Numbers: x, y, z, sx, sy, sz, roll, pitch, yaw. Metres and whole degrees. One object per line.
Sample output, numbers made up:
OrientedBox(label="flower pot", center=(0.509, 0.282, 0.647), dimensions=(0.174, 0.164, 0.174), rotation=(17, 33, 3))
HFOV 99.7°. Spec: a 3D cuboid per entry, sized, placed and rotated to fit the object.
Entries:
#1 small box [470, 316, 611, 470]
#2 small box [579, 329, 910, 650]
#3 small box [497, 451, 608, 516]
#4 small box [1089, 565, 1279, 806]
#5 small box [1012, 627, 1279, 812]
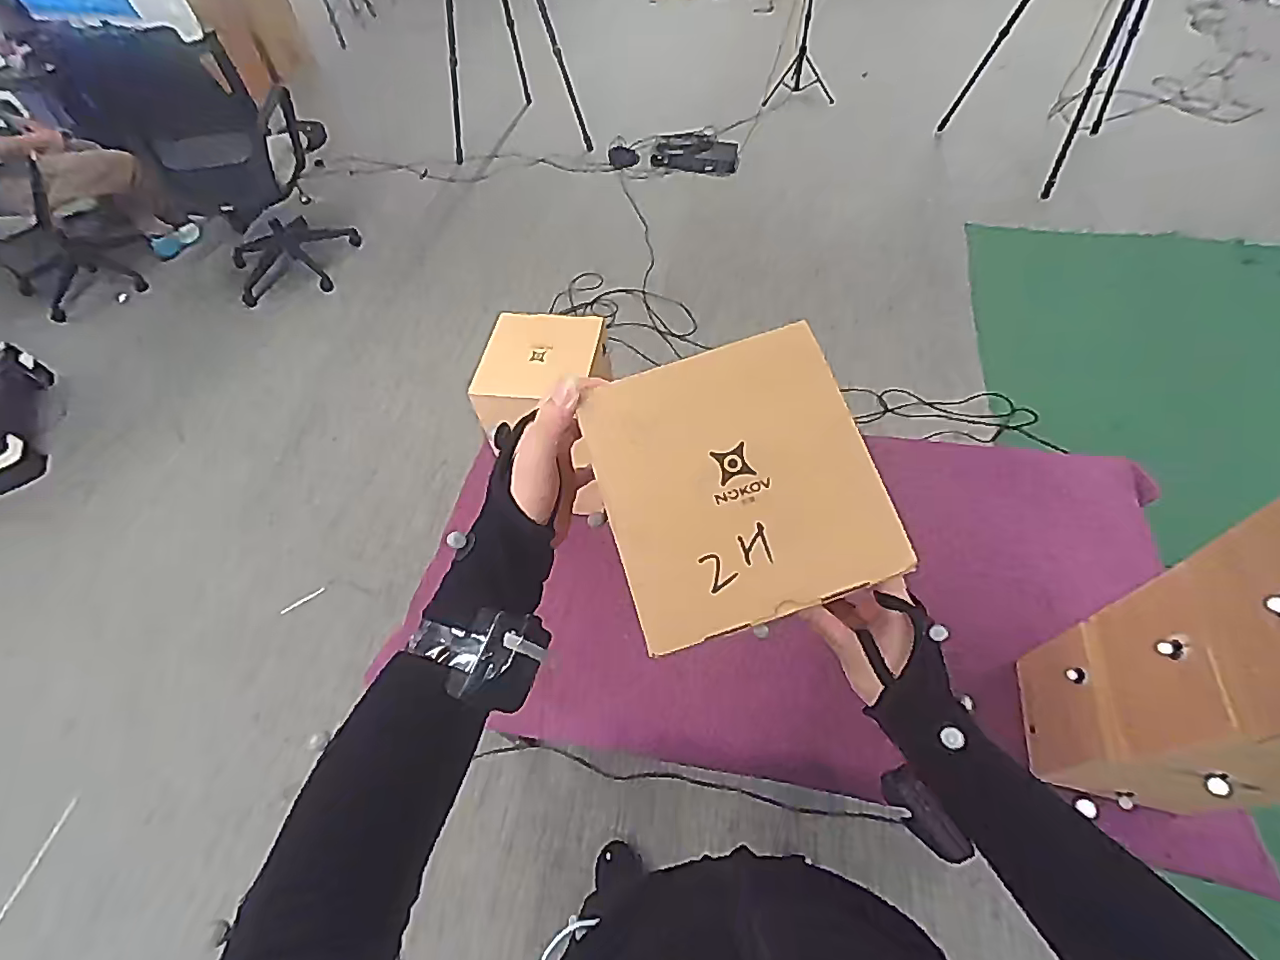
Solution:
OrientedBox(label="small box", center=(-0.141, -0.134, 0.853), dimensions=(0.168, 0.176, 0.179), rotation=(5, 56, 7))
OrientedBox(label="small box", center=(0.062, 0.019, 0.415), dimensions=(0.168, 0.176, 0.179), rotation=(-17, 75, -2))
OrientedBox(label="small box", center=(-0.136, -0.047, 0.990), dimensions=(0.179, 0.176, 0.168), rotation=(4, 56, 7))
OrientedBox(label="small box", center=(0.616, 0.216, 0.564), dimensions=(0.168, 0.176, 0.179), rotation=(9, 56, 12))
OrientedBox(label="small box", center=(0.623, 0.312, 0.696), dimensions=(0.179, 0.176, 0.168), rotation=(10, 56, 11))
